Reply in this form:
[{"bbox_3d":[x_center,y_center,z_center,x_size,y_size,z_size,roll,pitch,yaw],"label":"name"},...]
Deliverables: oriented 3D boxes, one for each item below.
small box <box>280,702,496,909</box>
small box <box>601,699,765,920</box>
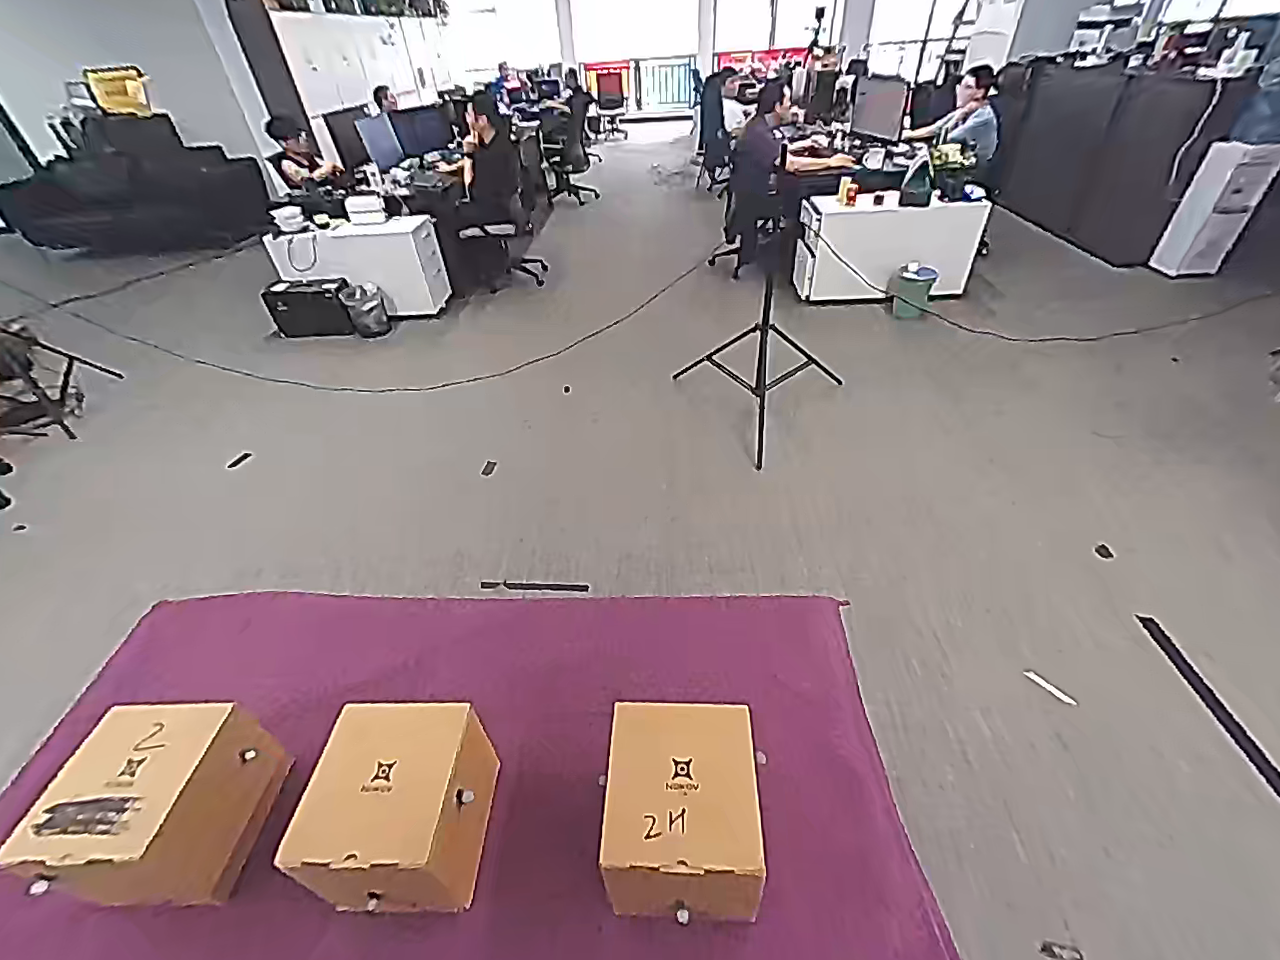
[{"bbox_3d":[-0.288,0.399,0.669,0.168,0.176,0.179,-2,40,3],"label":"small box"},{"bbox_3d":[0.051,0.388,0.645,0.168,0.176,0.179,-1,39,5],"label":"small box"}]
